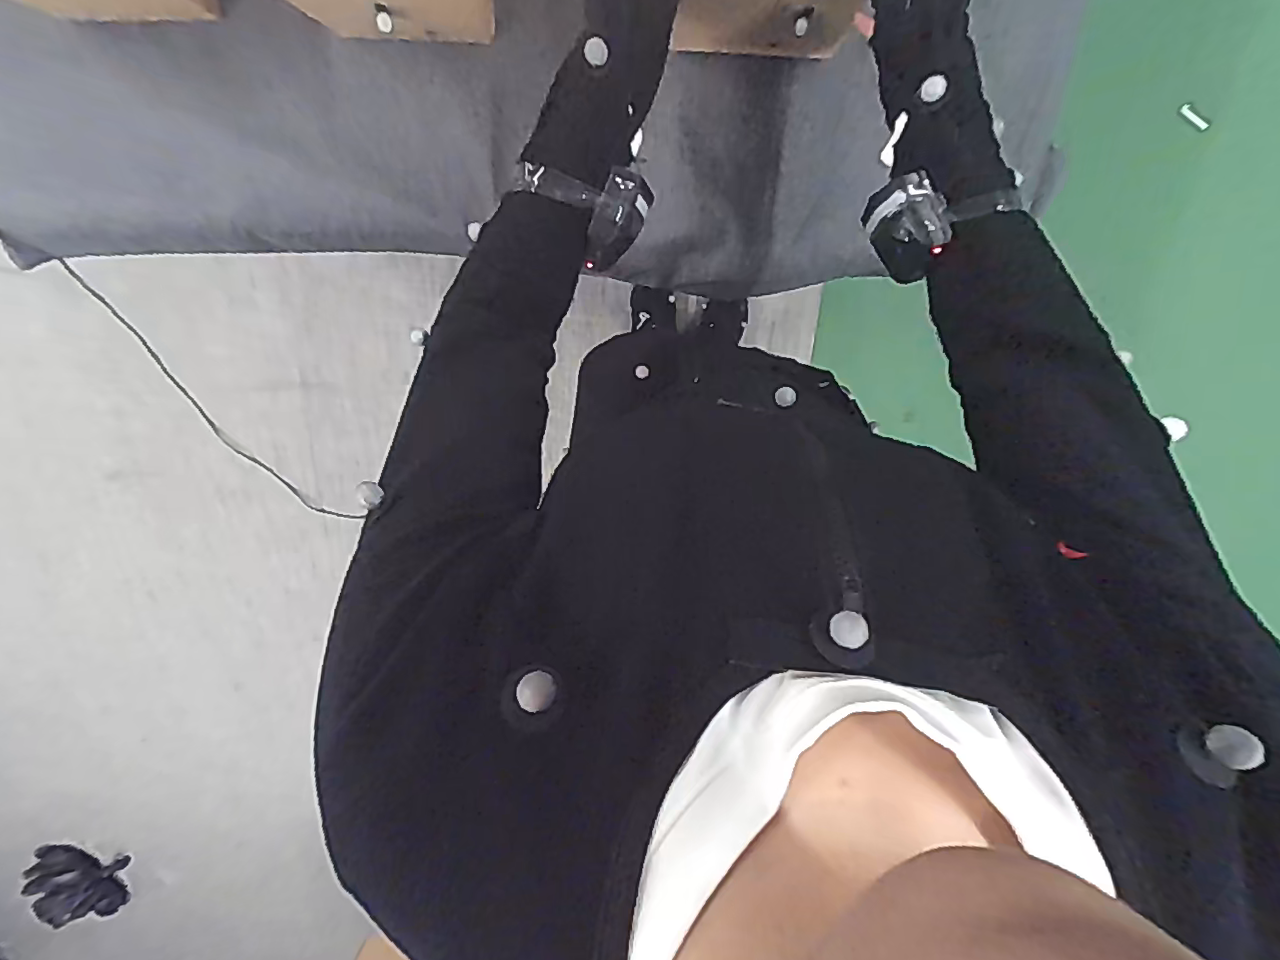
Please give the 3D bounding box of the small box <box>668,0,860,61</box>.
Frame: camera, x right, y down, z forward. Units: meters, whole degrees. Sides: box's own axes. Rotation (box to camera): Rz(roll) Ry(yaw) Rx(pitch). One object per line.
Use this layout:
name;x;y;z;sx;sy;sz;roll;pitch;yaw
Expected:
small box;0.111;-0.481;0.443;0.168;0.176;0.179;4;106;1

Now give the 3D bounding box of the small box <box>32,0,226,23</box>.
small box;-0.519;-0.529;0.468;0.179;0.176;0.168;2;112;2
